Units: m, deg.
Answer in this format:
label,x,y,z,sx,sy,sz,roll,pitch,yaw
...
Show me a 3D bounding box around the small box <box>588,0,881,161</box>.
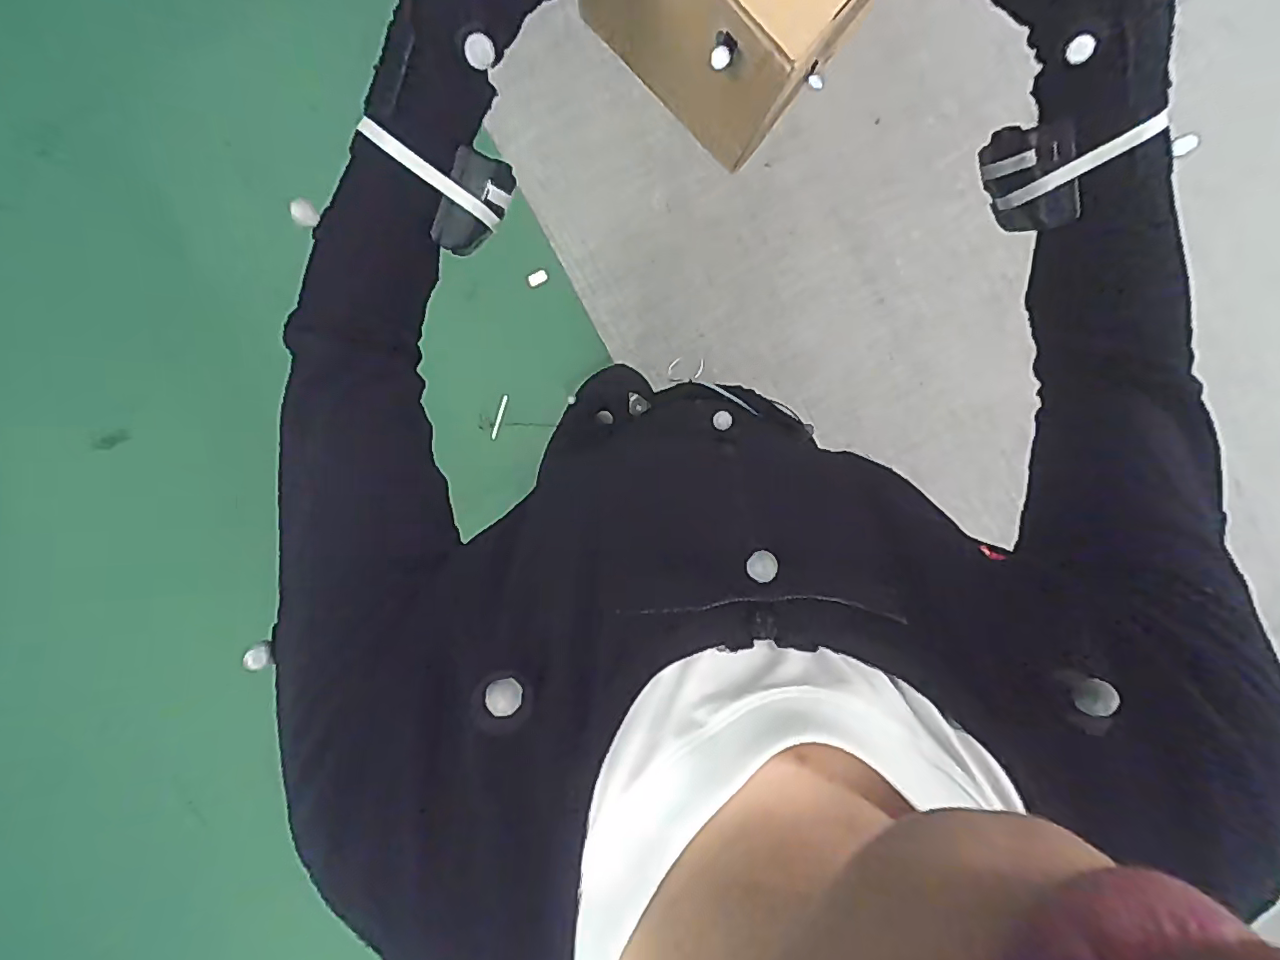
label,x,y,z,sx,sy,sz,roll,pitch,yaw
small box,0.073,-0.364,0.365,0.179,0.176,0.168,42,97,-10
